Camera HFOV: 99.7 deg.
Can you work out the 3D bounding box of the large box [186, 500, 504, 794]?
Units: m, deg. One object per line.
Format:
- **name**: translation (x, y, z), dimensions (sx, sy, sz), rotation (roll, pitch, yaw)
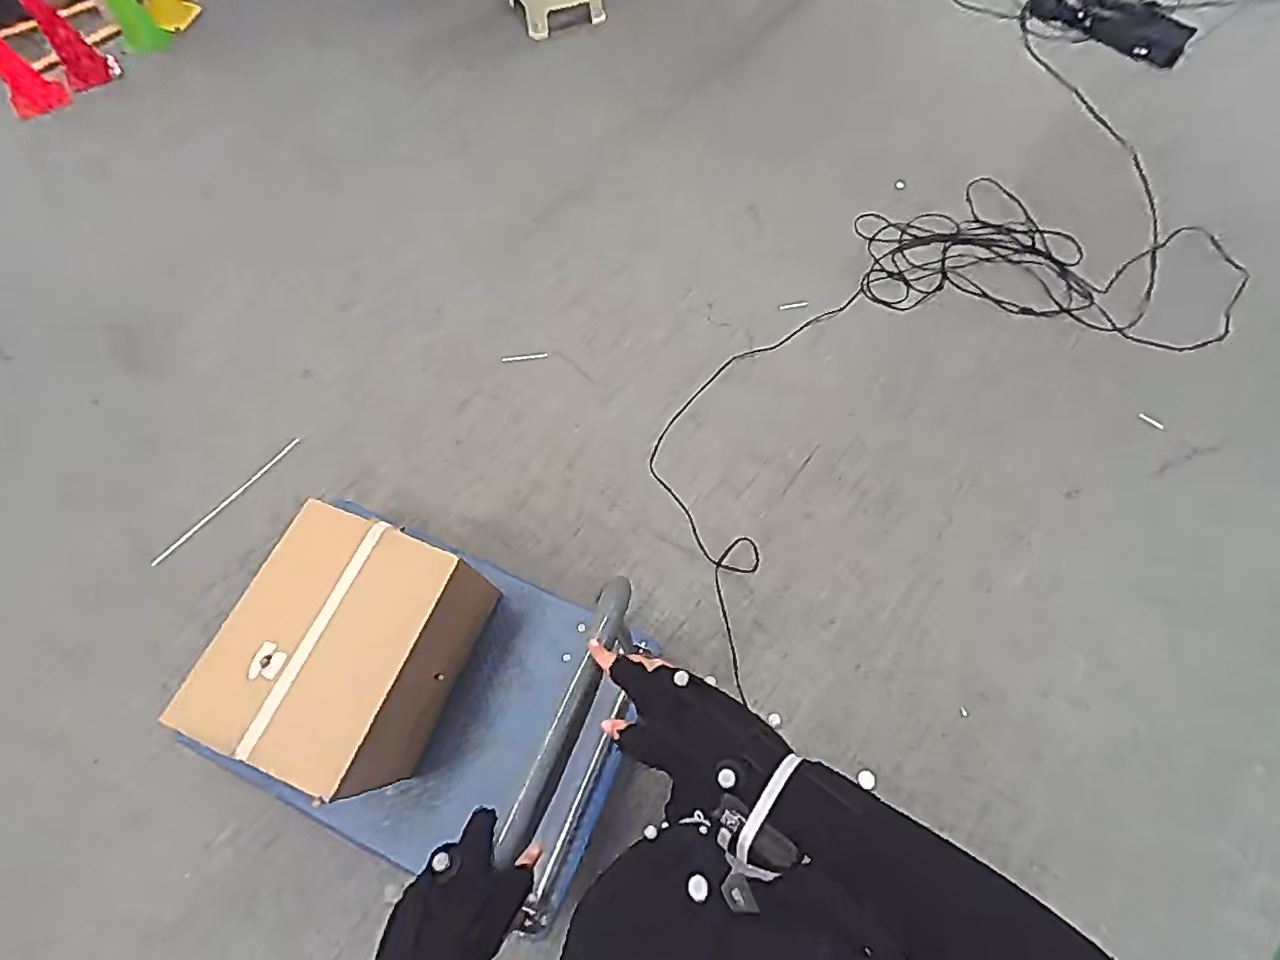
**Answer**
- **large box**: translation (-0.510, 0.309, 1.039), dimensions (0.320, 0.320, 0.408), rotation (19, 69, 8)
